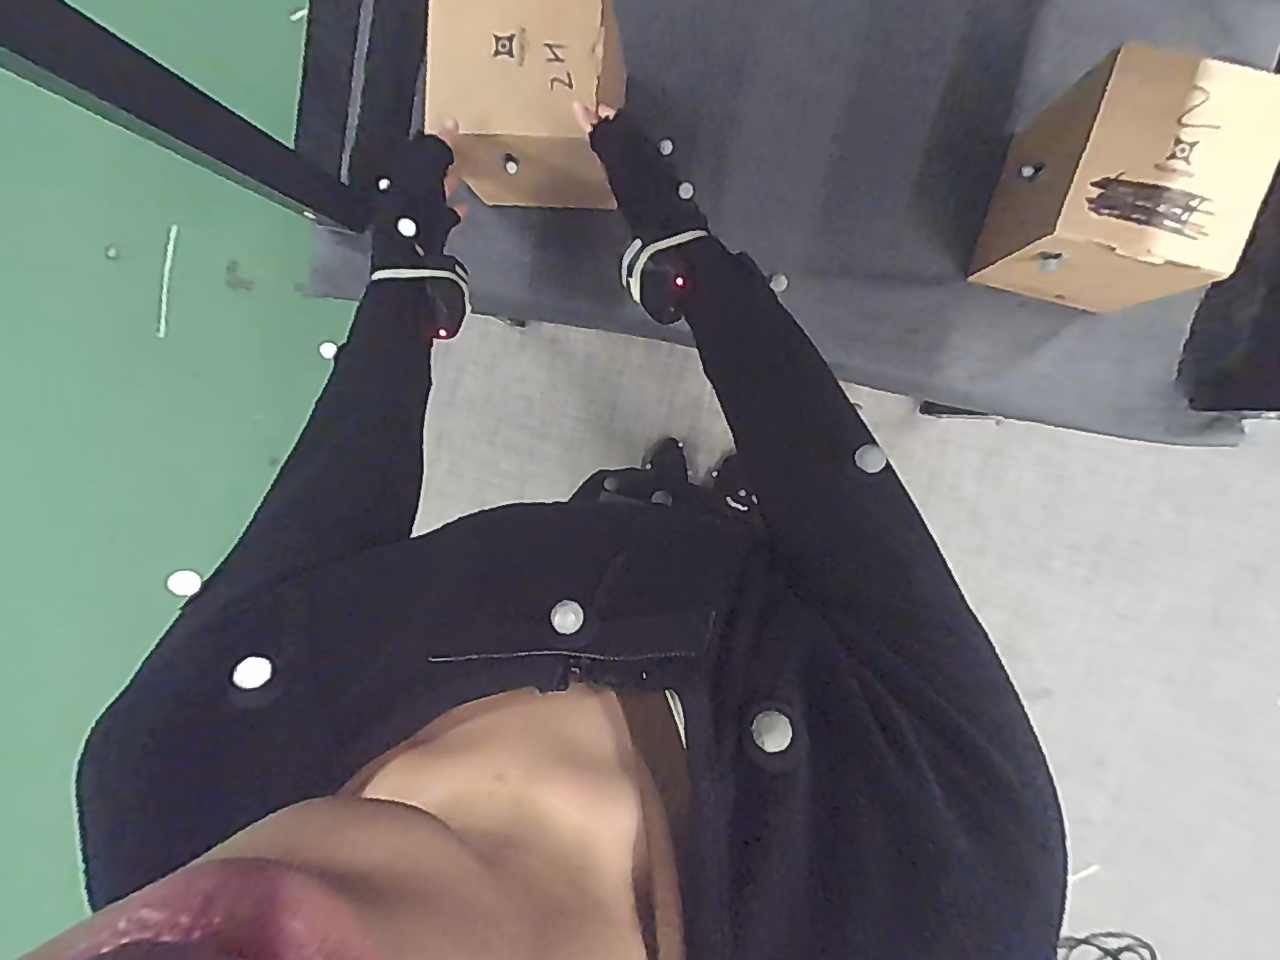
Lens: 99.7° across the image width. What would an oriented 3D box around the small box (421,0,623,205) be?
[{"bbox_3d":[-0.120,-0.427,0.606,0.179,0.176,0.168,5,96,4],"label":"small box"}]
